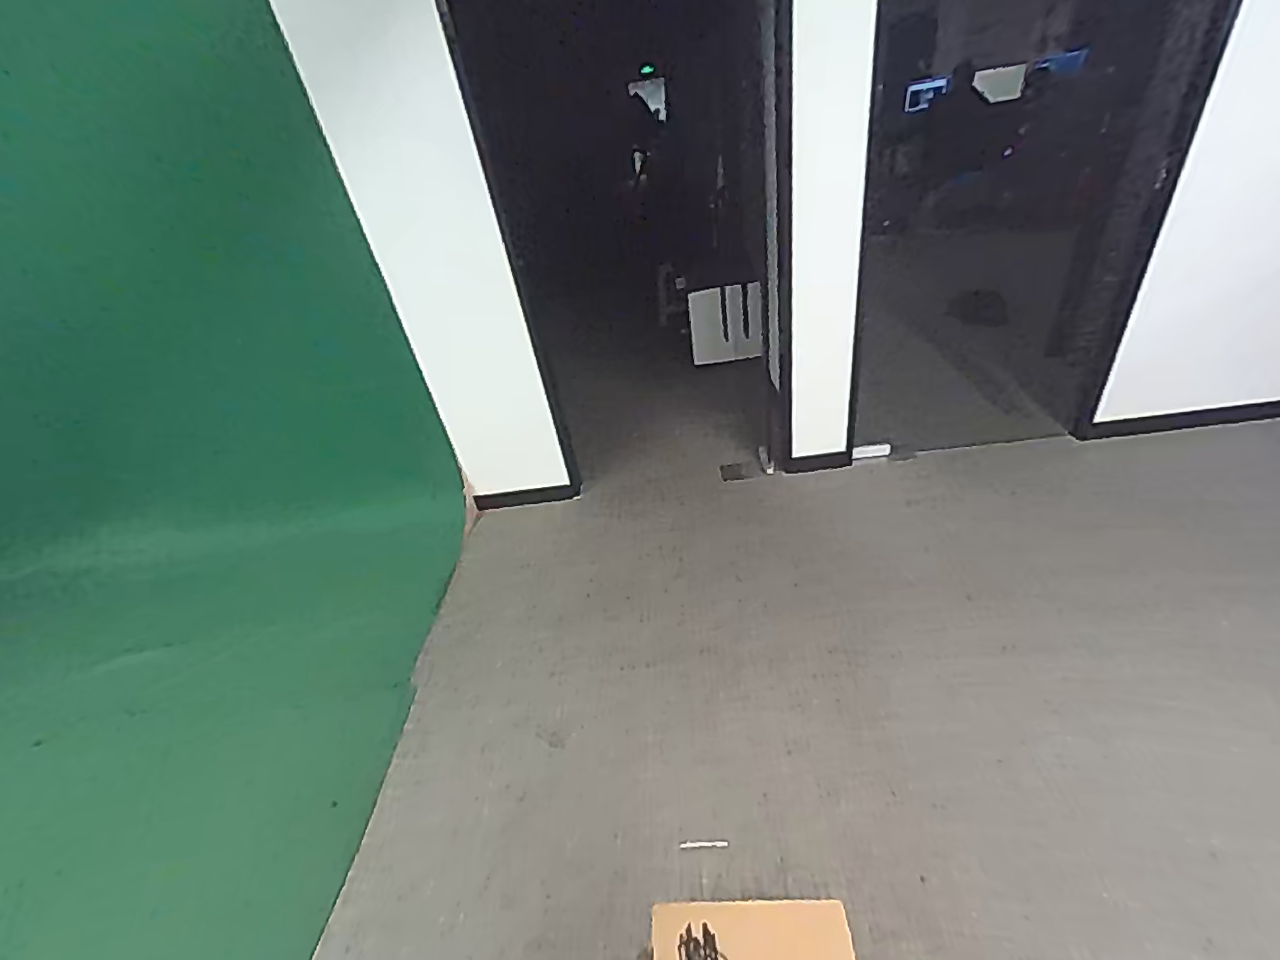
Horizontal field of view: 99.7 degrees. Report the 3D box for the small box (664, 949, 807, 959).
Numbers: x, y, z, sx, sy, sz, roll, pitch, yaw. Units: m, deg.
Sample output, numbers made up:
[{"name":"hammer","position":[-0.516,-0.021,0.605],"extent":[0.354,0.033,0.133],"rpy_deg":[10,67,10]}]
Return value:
[{"name":"small box","position":[0.110,0.630,0.561],"extent":[0.168,0.176,0.179],"rpy_deg":[-3,33,8]}]
